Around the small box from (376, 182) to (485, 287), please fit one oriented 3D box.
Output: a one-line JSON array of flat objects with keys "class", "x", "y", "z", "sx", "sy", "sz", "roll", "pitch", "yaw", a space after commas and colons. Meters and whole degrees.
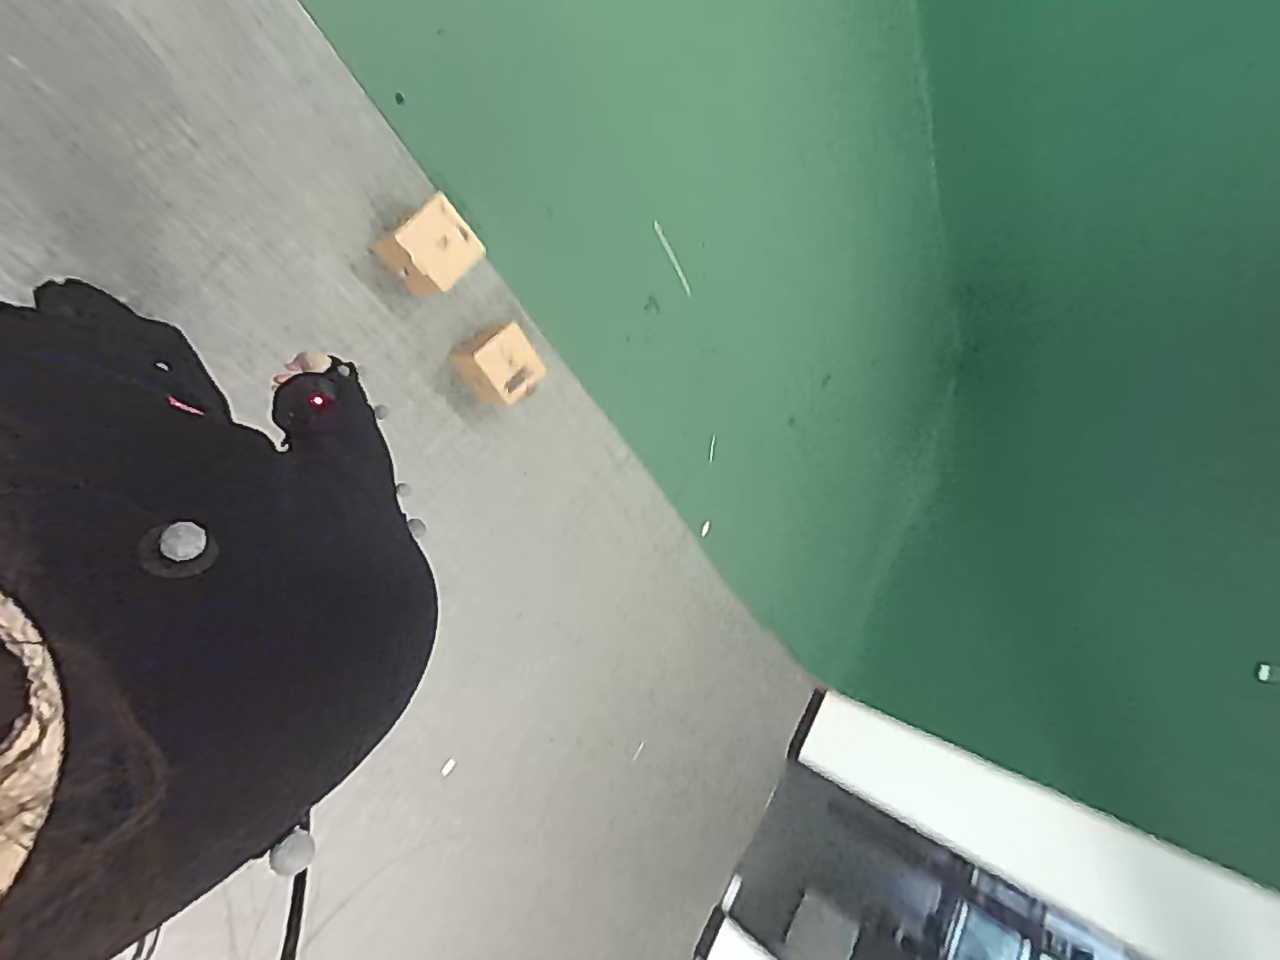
[{"class": "small box", "x": -0.537, "y": -0.611, "z": 1.369, "sx": 0.179, "sy": 0.176, "sz": 0.168, "roll": -55, "pitch": 131, "yaw": -19}]
